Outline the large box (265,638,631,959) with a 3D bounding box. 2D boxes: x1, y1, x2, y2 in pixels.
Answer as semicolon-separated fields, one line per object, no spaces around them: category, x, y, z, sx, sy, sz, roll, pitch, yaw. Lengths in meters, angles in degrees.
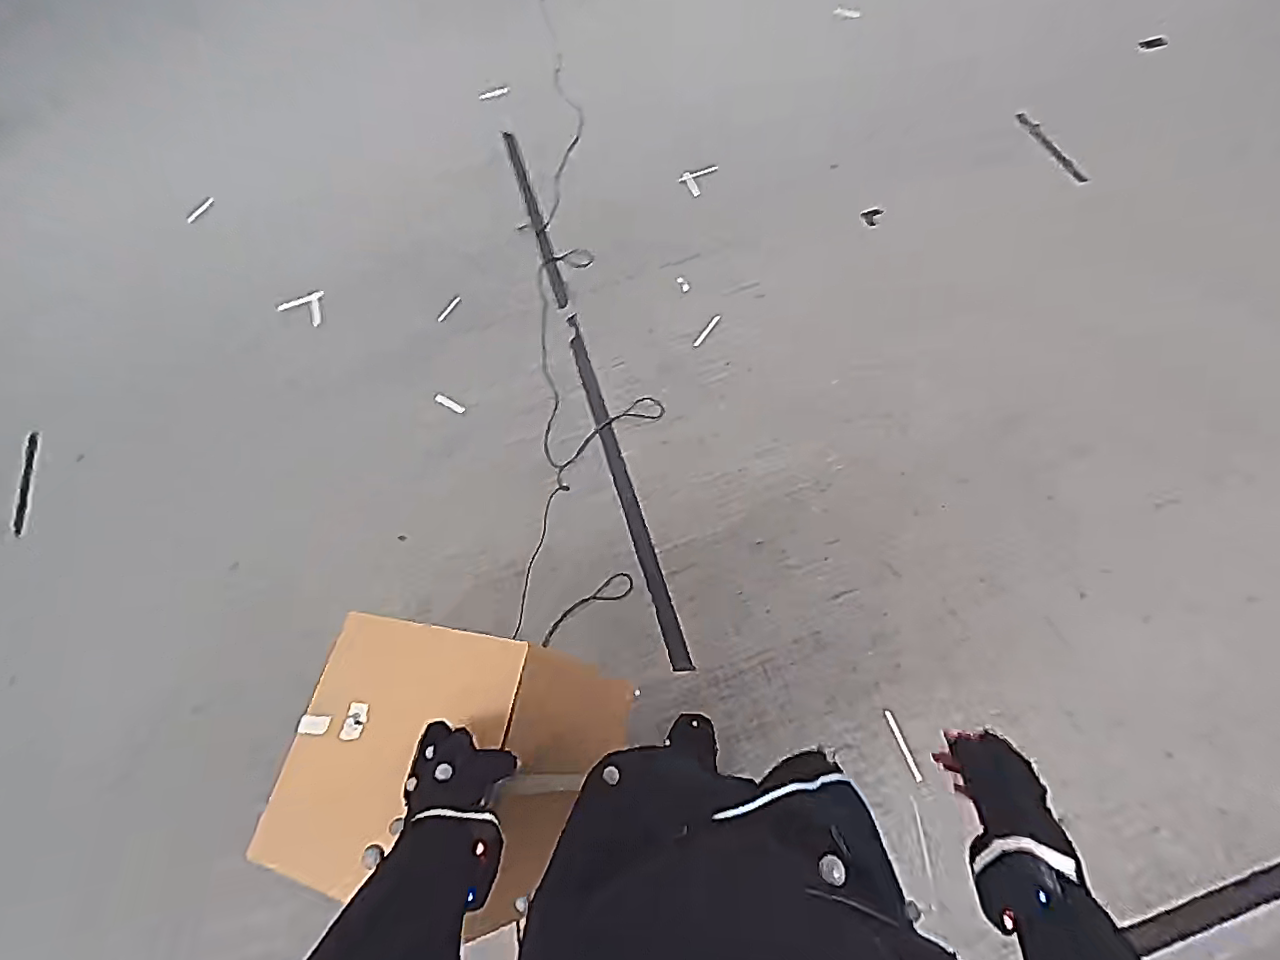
large box;-0.242;0.444;0.831;0.320;0.408;0.320;2;64;21
